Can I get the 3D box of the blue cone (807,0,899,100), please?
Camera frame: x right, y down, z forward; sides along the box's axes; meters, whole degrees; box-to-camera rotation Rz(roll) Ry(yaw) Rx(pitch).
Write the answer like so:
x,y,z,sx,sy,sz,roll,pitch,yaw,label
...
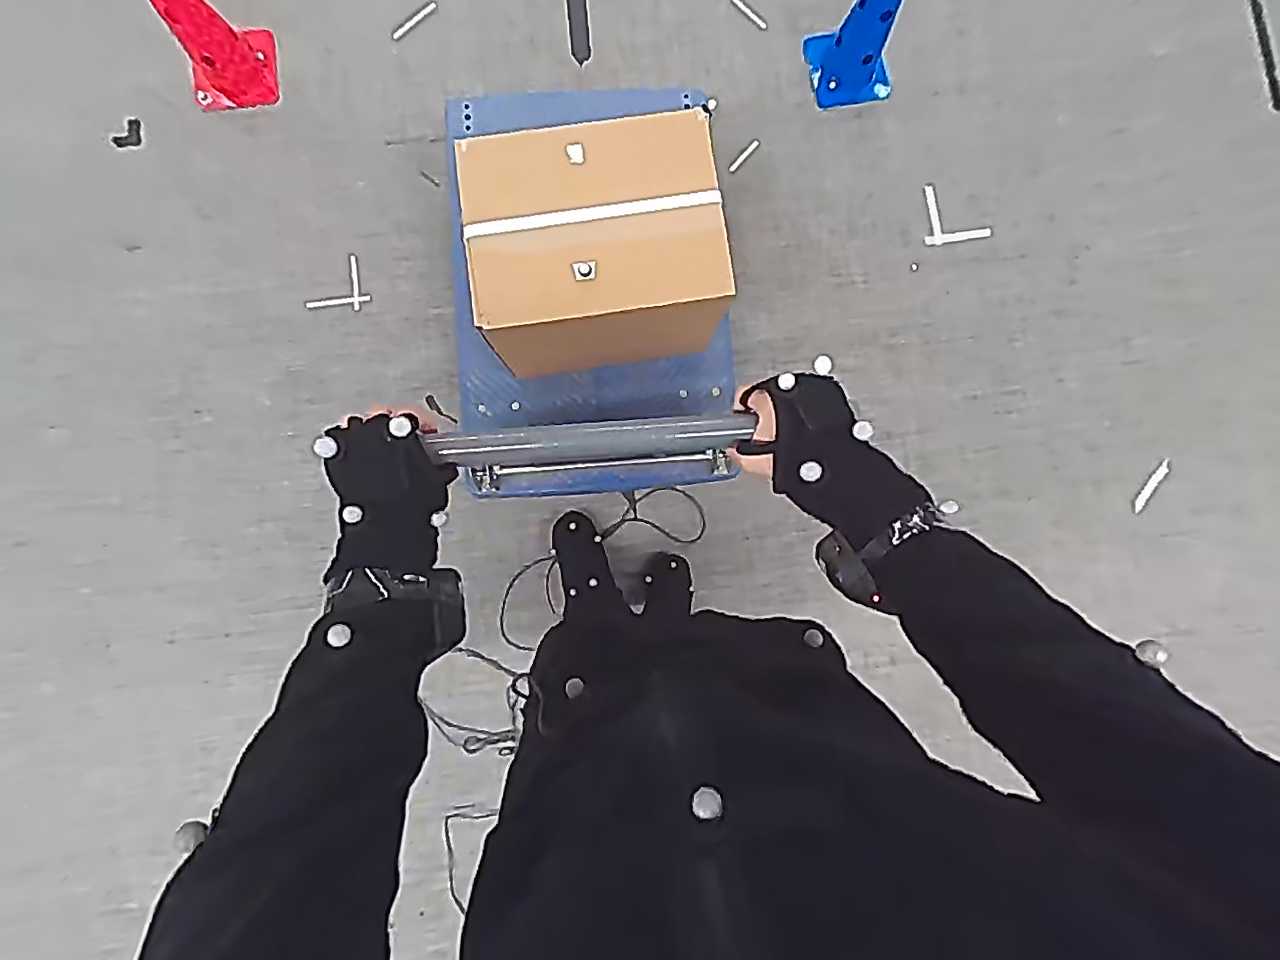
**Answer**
x,y,z,sx,sy,sz,roll,pitch,yaw,label
0.545,-1.089,1.233,0.193,0.380,0.192,-10,85,-3,blue cone
